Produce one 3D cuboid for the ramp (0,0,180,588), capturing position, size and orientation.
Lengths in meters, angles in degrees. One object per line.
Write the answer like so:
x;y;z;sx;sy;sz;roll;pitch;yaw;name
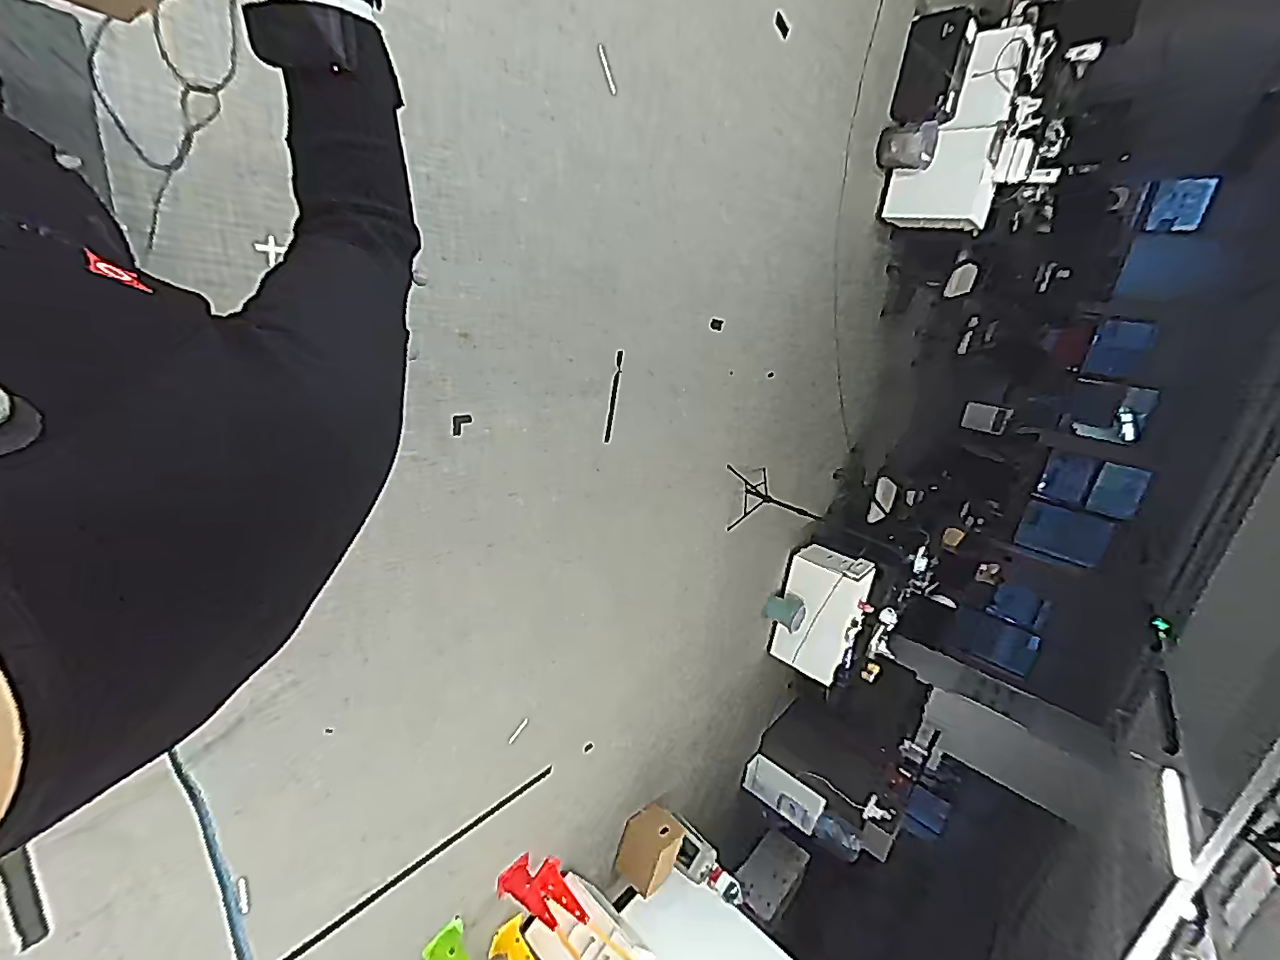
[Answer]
-1.165;-0.291;0.893;0.509;0.206;0.991;-15;119;-46;ramp
